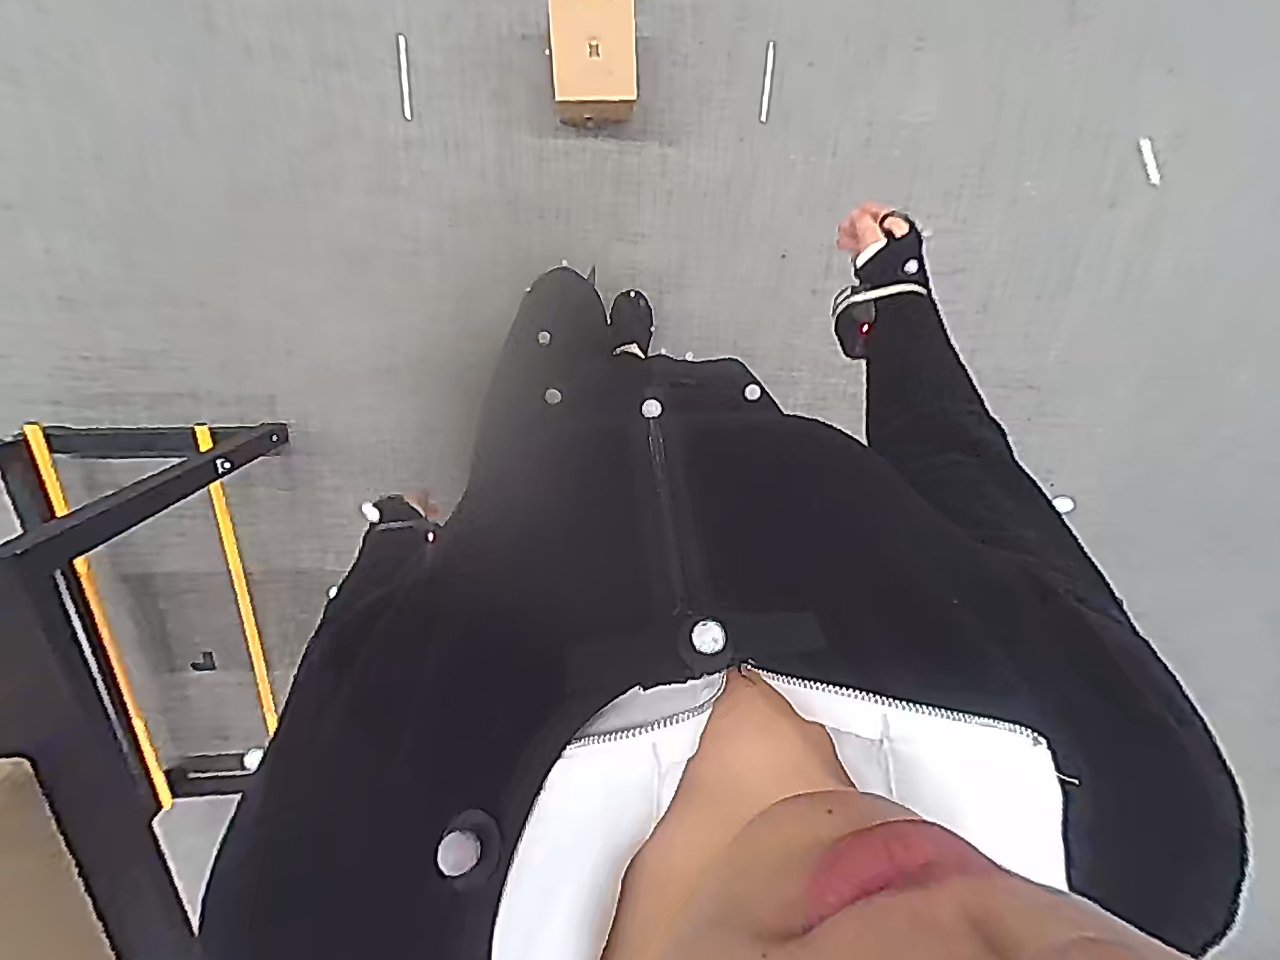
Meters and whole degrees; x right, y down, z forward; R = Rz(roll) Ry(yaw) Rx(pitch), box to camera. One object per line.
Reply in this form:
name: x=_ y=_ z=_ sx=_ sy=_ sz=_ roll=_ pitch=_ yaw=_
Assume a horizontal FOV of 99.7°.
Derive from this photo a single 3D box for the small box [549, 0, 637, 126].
small box: x=-0.097 y=-0.857 z=1.120 sx=0.168 sy=0.176 sz=0.179 roll=-4 pitch=112 yaw=-3
